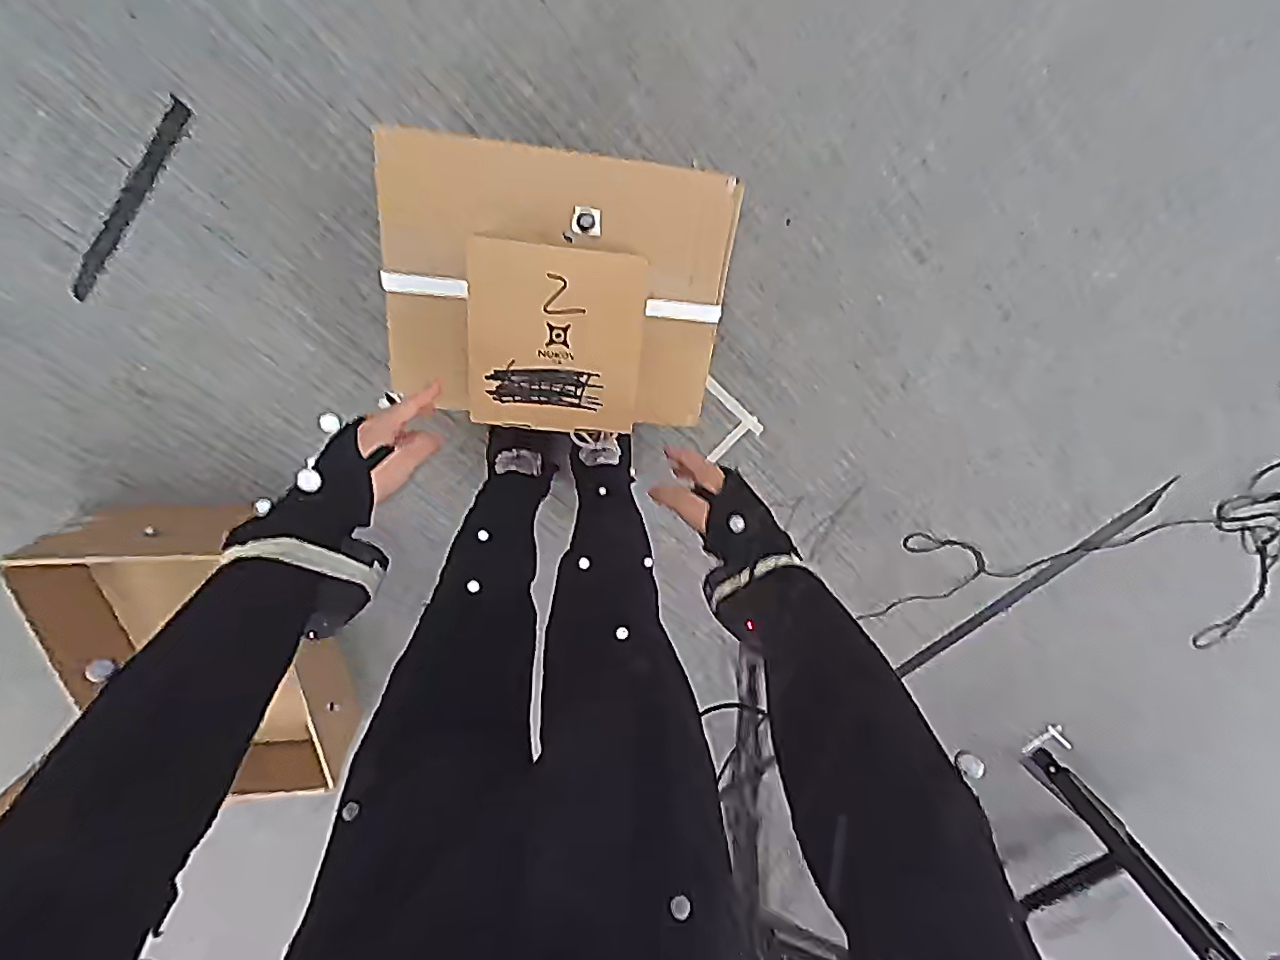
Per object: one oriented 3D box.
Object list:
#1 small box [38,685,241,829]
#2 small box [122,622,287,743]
[{"bbox_3d":[-0.833,0.476,0.931,0.179,0.176,0.168,-5,115,-3],"label":"small box"},{"bbox_3d":[-0.848,0.401,1.074,0.179,0.176,0.168,-2,116,-7],"label":"small box"}]
